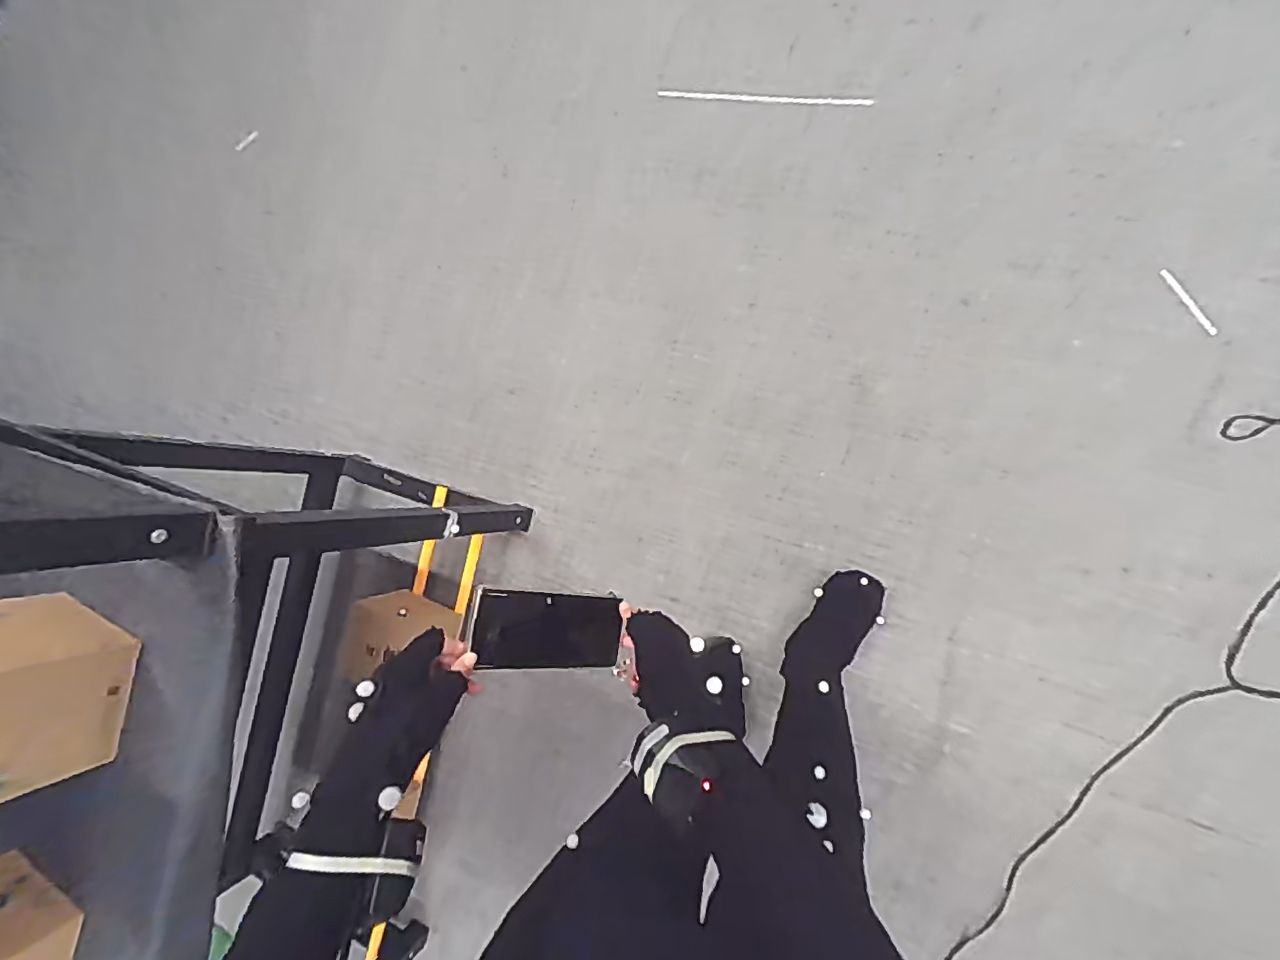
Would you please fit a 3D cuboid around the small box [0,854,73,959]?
[{"bbox_3d":[-0.842,0.610,0.646,0.168,0.176,0.179,19,93,17],"label":"small box"}]

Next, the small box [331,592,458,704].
[{"bbox_3d":[-0.542,0.365,1.214,0.179,0.176,0.168,19,93,17],"label":"small box"}]
